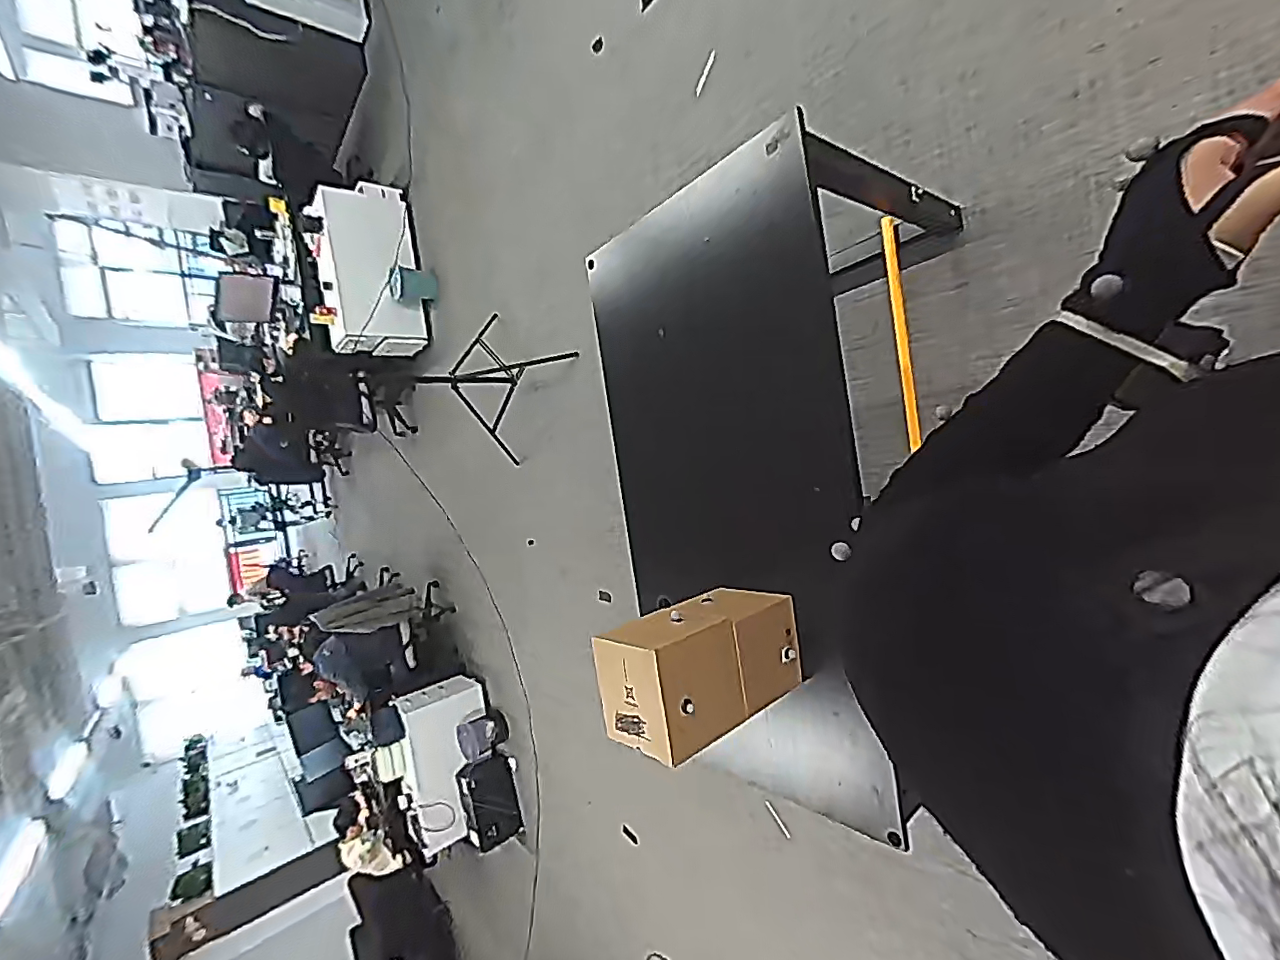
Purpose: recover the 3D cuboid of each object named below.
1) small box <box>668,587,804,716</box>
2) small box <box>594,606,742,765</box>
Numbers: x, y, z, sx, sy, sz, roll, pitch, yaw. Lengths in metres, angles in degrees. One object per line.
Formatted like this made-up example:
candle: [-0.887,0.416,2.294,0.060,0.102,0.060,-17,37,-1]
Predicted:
small box: [0.173,0.301,0.994,0.179,0.176,0.168,-7,93,50]
small box: [0.049,0.322,0.888,0.168,0.176,0.179,-9,91,51]
